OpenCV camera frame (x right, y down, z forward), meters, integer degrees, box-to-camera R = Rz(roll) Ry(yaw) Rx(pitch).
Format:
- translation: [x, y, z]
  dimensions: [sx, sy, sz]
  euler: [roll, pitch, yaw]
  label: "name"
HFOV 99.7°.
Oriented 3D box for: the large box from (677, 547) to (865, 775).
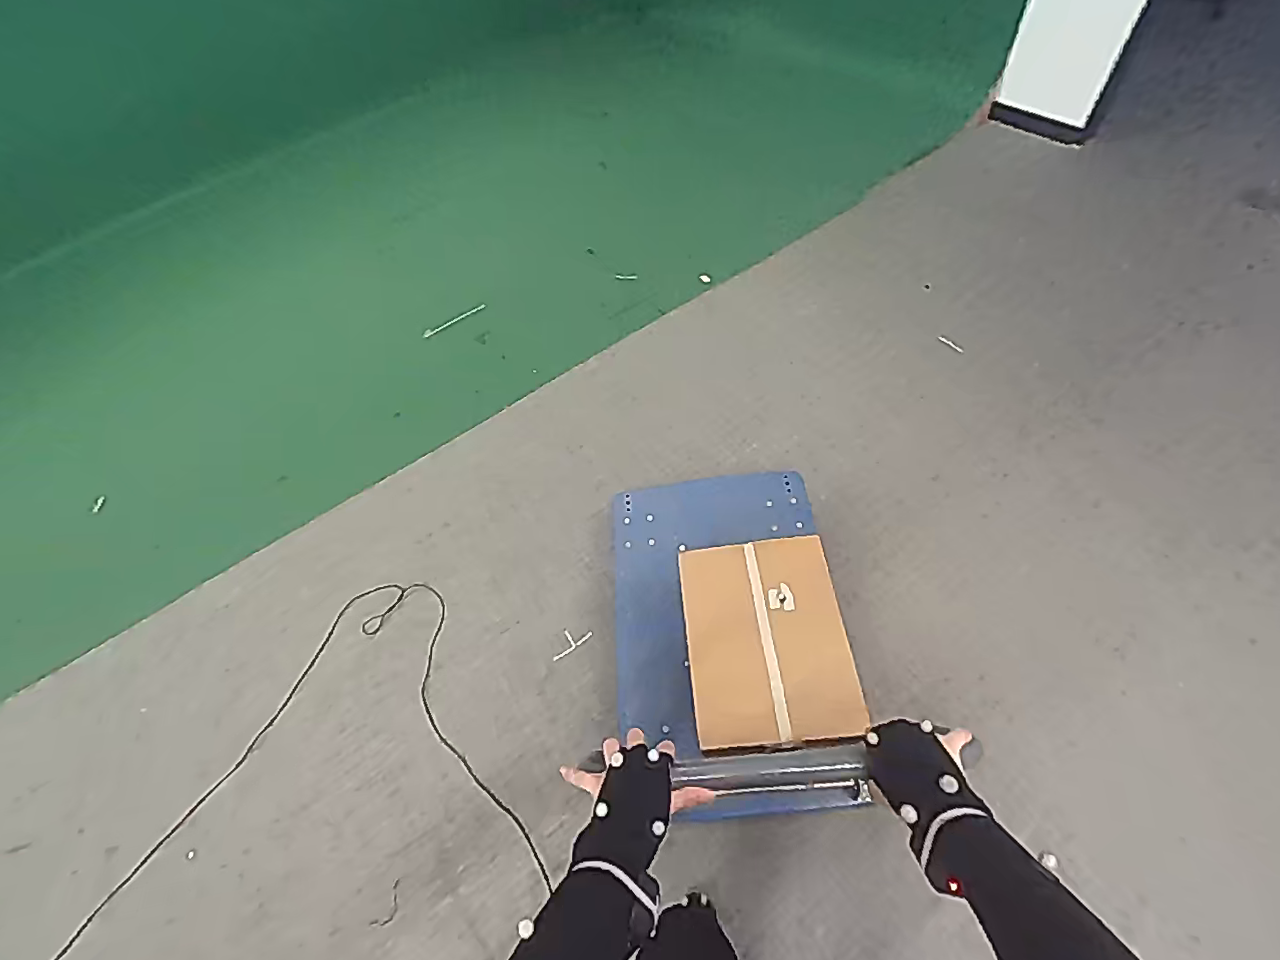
- translation: [0.270, 0.414, 1.225]
  dimensions: [0.320, 0.320, 0.408]
  euler: [-7, 55, 4]
  label: "large box"
